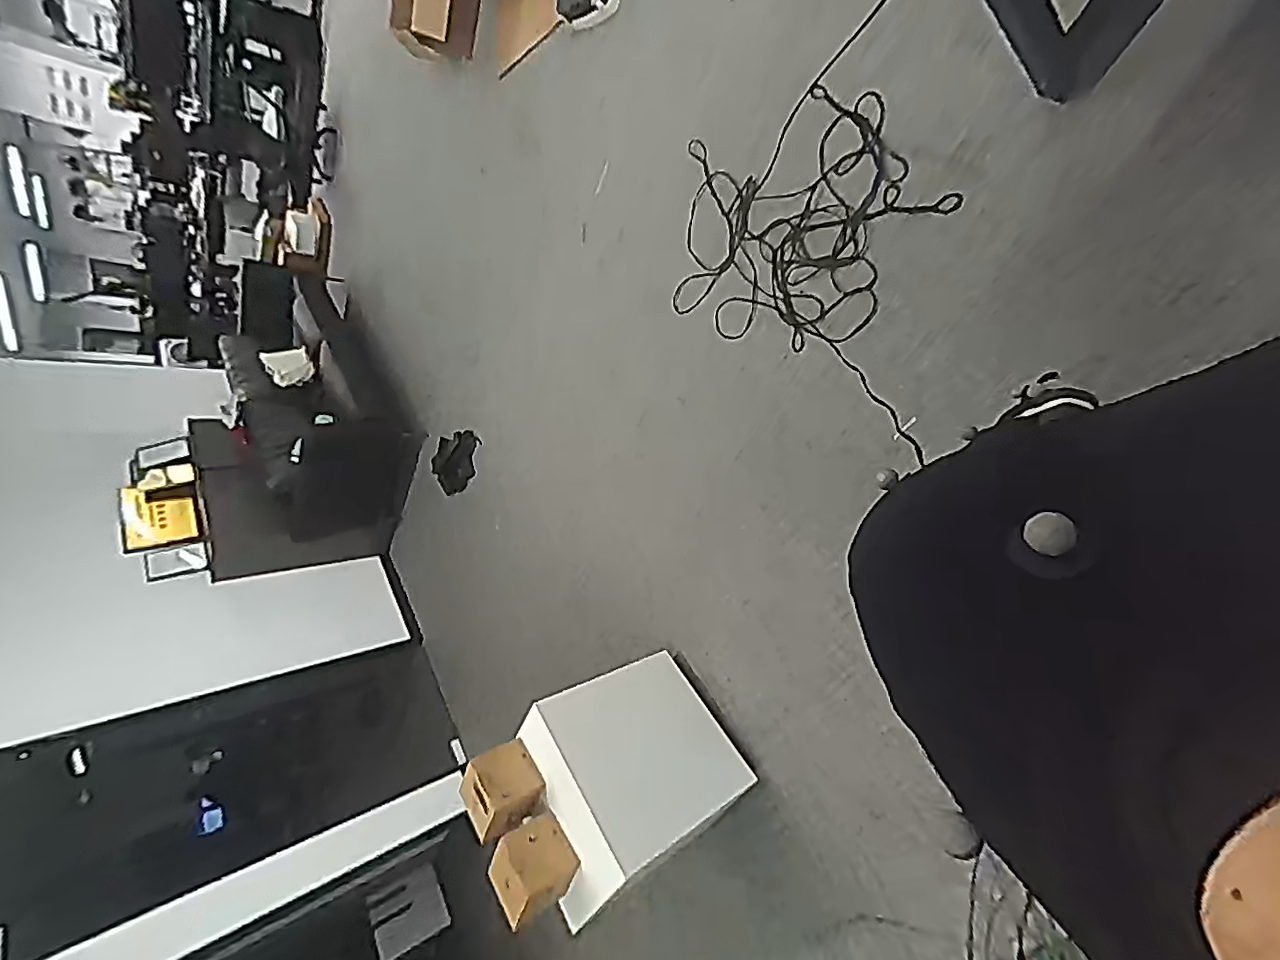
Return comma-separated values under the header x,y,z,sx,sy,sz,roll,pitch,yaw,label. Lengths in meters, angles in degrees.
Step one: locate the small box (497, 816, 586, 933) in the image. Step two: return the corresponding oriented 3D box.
x,y,z,sx,sy,sz,roll,pitch,yaw,label
-0.269,1.079,1.495,0.168,0.176,0.179,40,123,39,small box
